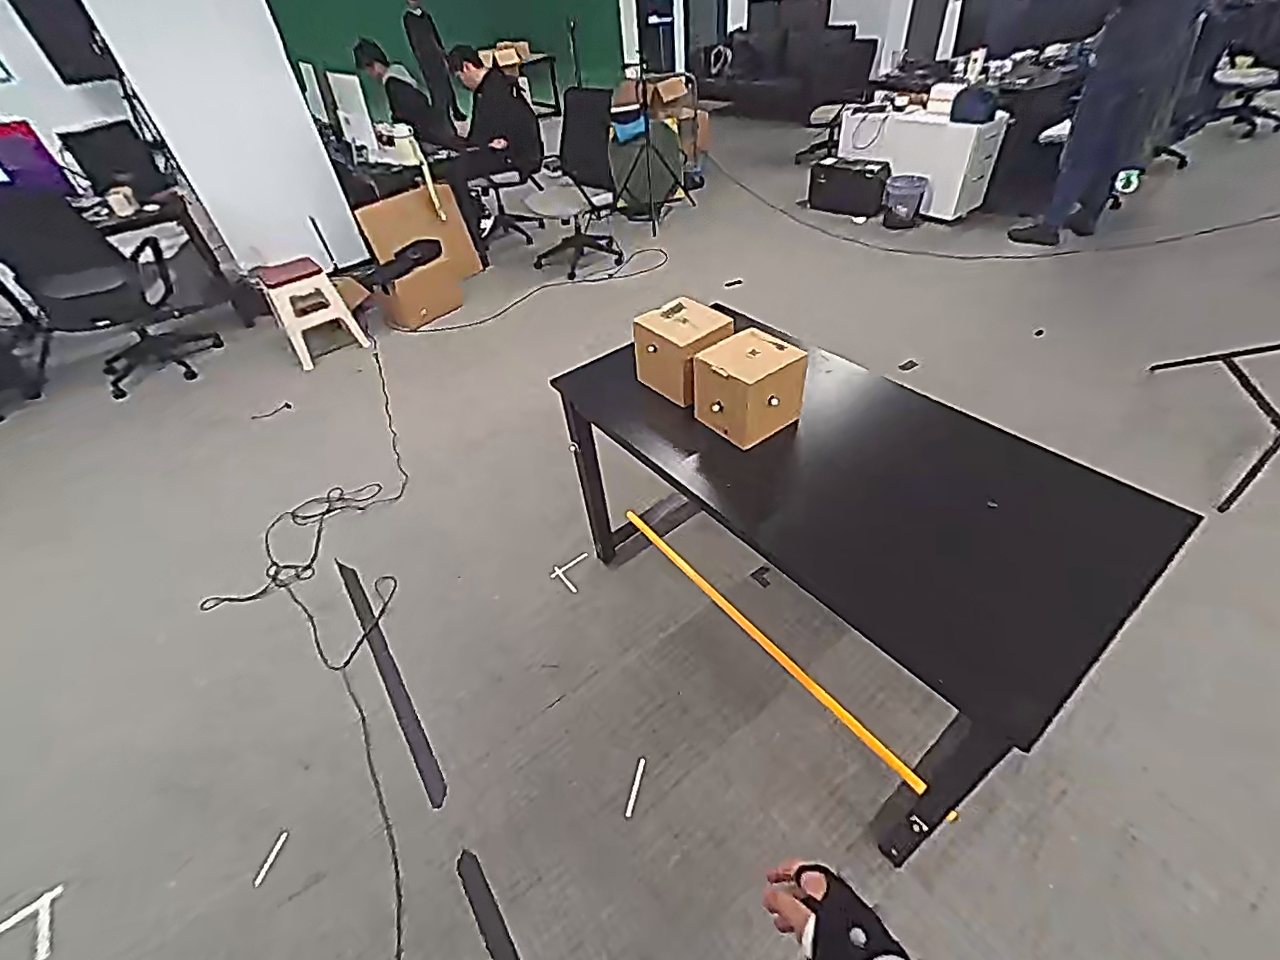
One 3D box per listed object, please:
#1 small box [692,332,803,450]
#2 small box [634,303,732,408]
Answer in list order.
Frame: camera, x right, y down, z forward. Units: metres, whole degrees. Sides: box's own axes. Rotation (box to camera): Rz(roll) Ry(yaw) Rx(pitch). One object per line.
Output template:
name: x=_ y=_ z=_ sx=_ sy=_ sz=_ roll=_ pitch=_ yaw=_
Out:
small box: x=0.235 y=-0.195 z=1.192 sx=0.179 sy=0.176 sz=0.168 roll=-31 pitch=48 yaw=-23
small box: x=0.104 y=-0.304 z=1.323 sx=0.168 sy=0.176 sz=0.179 roll=-33 pitch=50 yaw=-25
